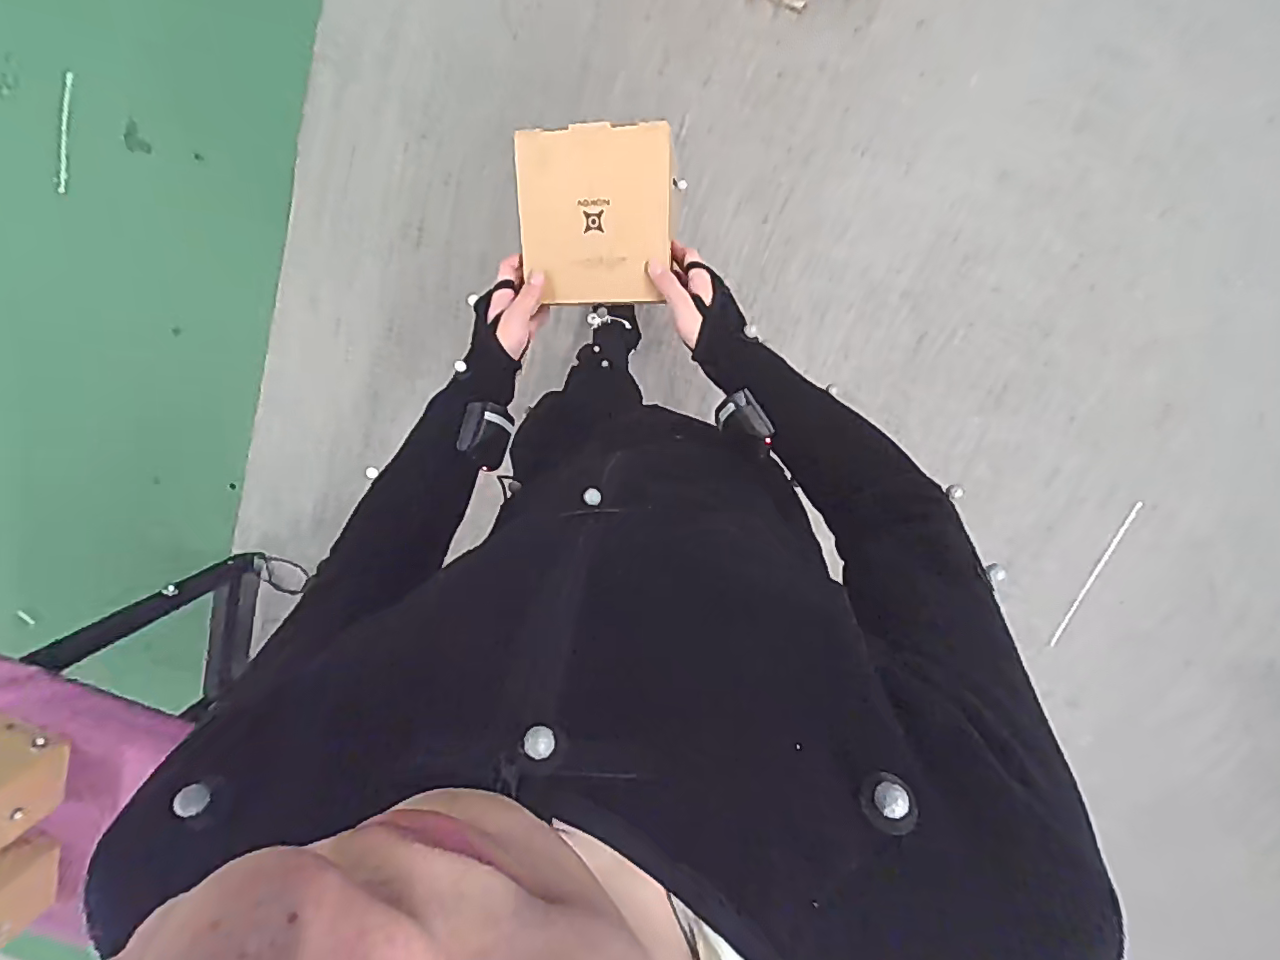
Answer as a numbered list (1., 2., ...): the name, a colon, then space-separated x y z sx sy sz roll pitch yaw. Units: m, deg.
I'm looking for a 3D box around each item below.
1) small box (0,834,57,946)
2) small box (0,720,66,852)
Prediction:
1. small box: -1.346 0.848 1.090 0.168 0.176 0.179 20 104 -3
2. small box: -1.244 0.587 1.013 0.168 0.176 0.179 23 107 -3
